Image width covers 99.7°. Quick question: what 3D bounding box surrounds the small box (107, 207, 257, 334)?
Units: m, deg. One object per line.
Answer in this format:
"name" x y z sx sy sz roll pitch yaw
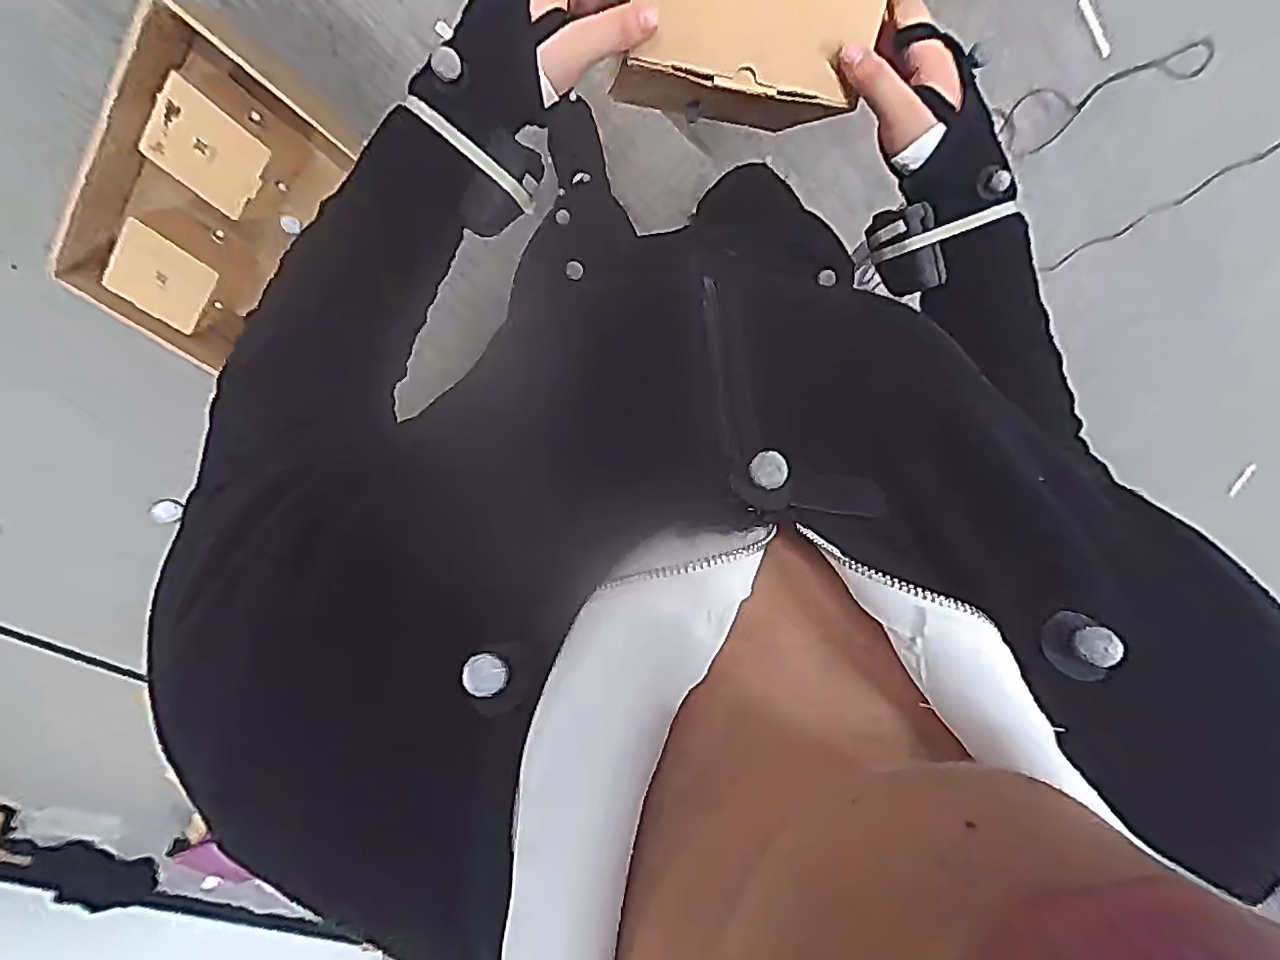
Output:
"small box" -0.975 -0.455 1.167 0.168 0.176 0.179 35 113 -26

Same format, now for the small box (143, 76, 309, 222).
"small box" -0.789 -0.646 1.052 0.179 0.176 0.168 38 115 -27
